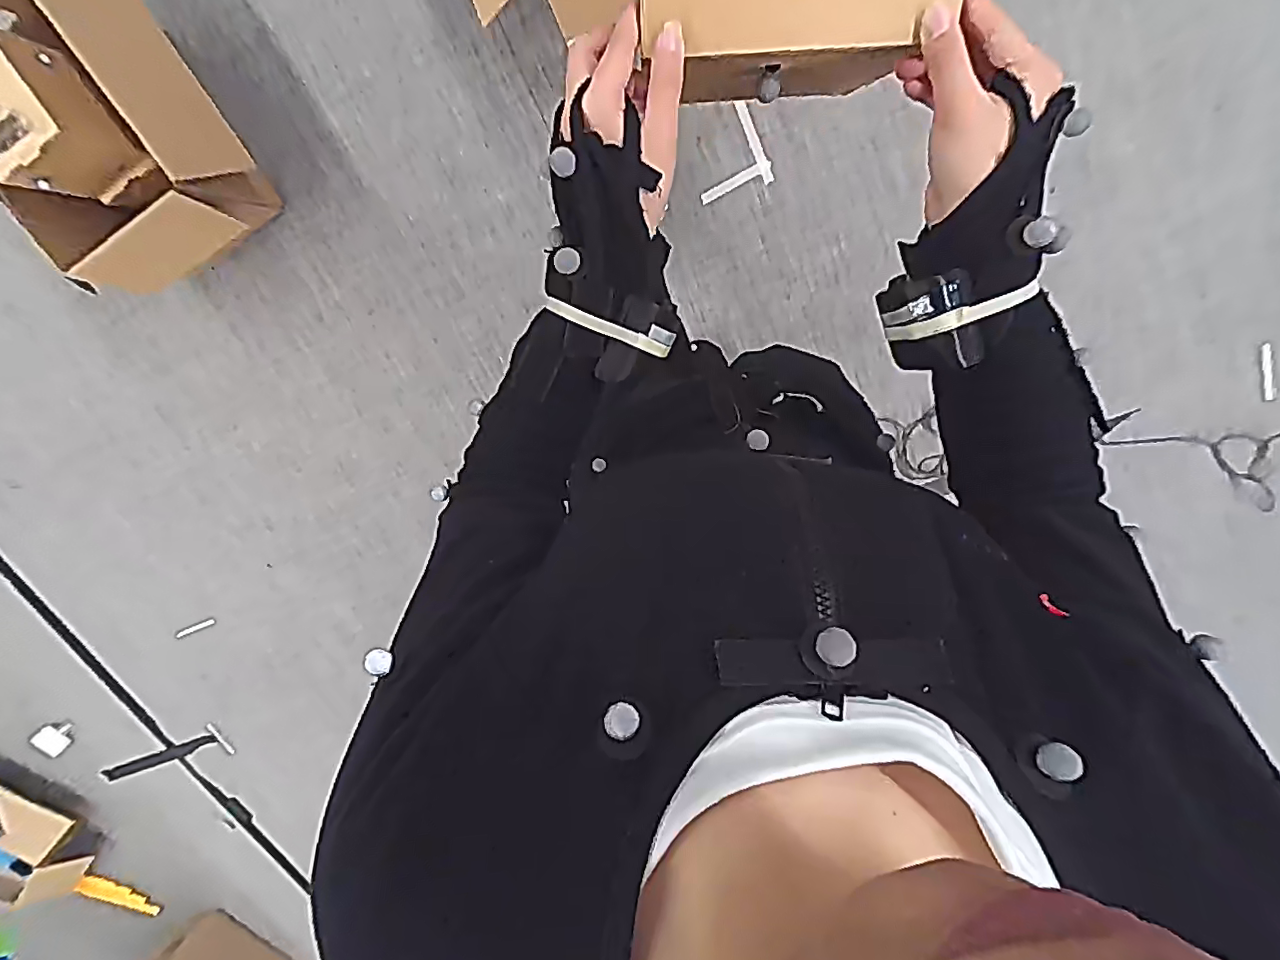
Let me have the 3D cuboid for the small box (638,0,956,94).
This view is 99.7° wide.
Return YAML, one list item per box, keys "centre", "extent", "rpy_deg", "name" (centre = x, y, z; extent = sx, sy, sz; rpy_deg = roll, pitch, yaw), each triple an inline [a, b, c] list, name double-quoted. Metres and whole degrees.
- centre: [0.085, -0.356, 0.337]
  extent: [0.179, 0.176, 0.168]
  rpy_deg: [-2, 117, 2]
  name: "small box"
